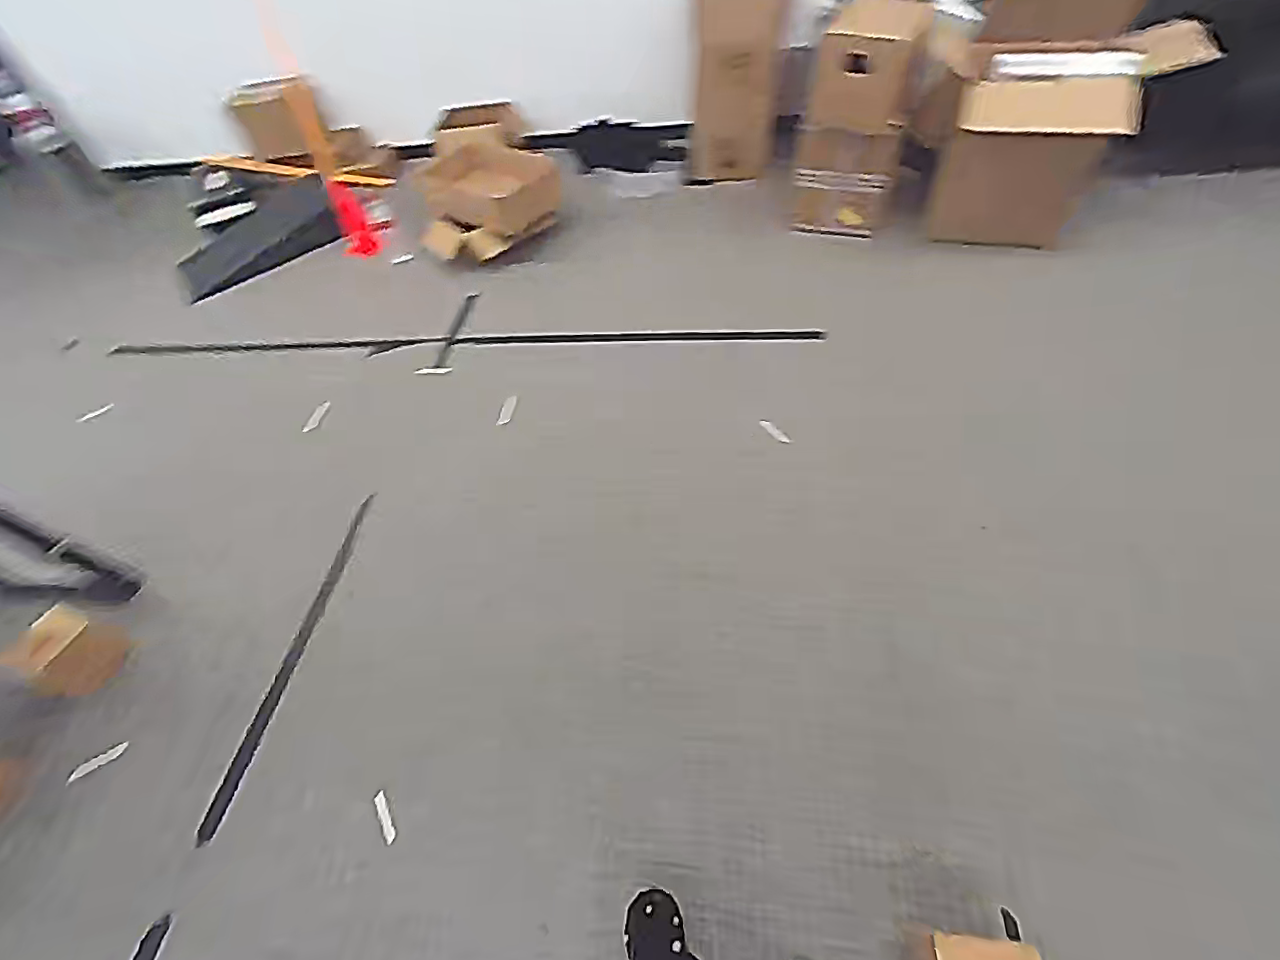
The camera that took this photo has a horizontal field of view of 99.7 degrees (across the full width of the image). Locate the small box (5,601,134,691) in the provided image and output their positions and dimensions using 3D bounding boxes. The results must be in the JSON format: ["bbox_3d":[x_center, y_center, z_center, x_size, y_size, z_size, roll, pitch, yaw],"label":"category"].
[{"bbox_3d":[-1.653,0.489,1.586,0.168,0.176,0.179,17,58,18],"label":"small box"}]
